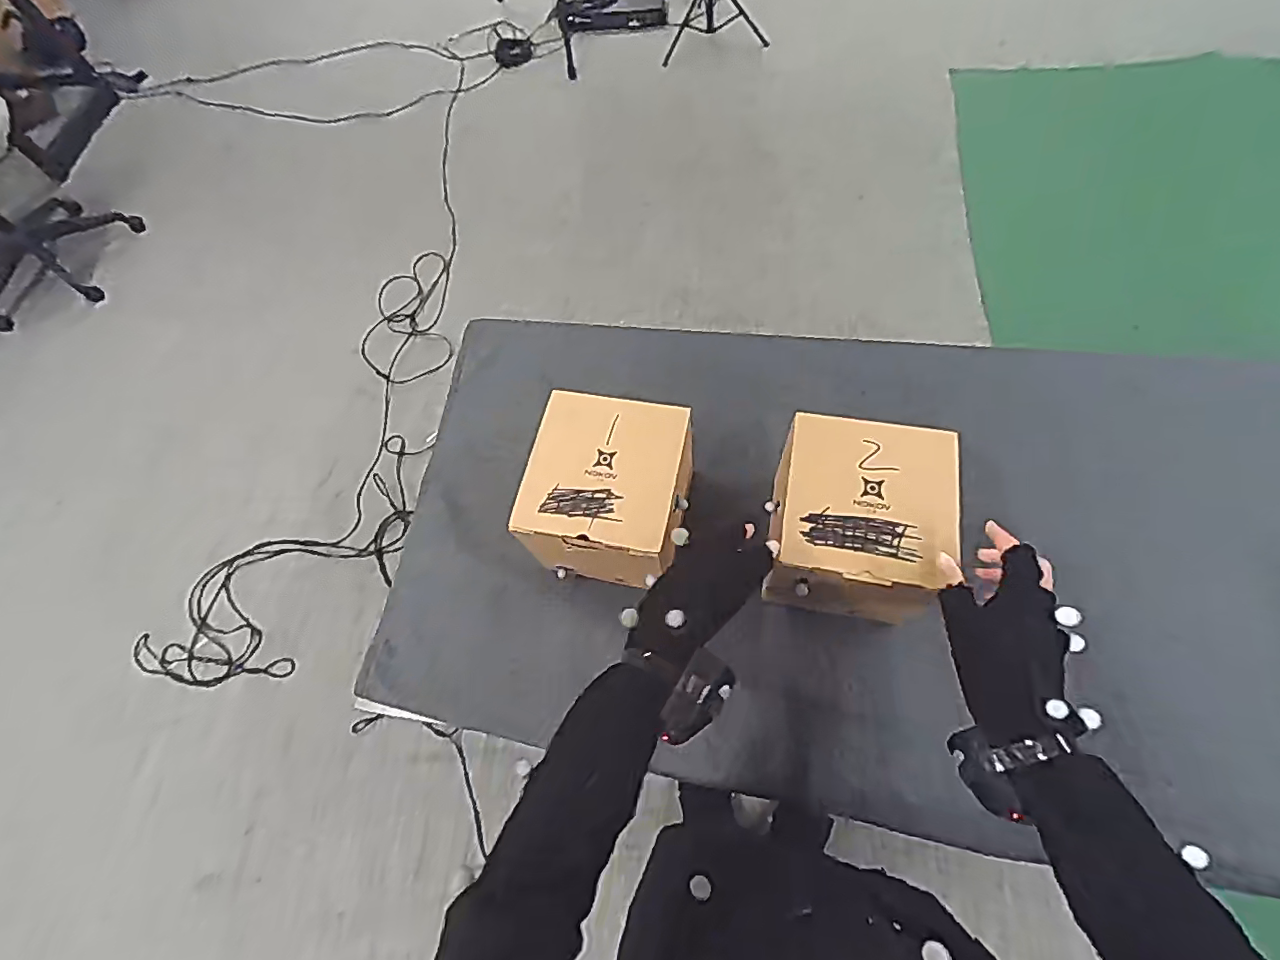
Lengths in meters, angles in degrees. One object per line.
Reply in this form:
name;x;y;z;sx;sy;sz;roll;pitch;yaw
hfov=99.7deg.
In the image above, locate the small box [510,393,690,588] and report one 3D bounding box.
small box;-0.033;0.021;0.660;0.168;0.176;0.179;10;66;10
